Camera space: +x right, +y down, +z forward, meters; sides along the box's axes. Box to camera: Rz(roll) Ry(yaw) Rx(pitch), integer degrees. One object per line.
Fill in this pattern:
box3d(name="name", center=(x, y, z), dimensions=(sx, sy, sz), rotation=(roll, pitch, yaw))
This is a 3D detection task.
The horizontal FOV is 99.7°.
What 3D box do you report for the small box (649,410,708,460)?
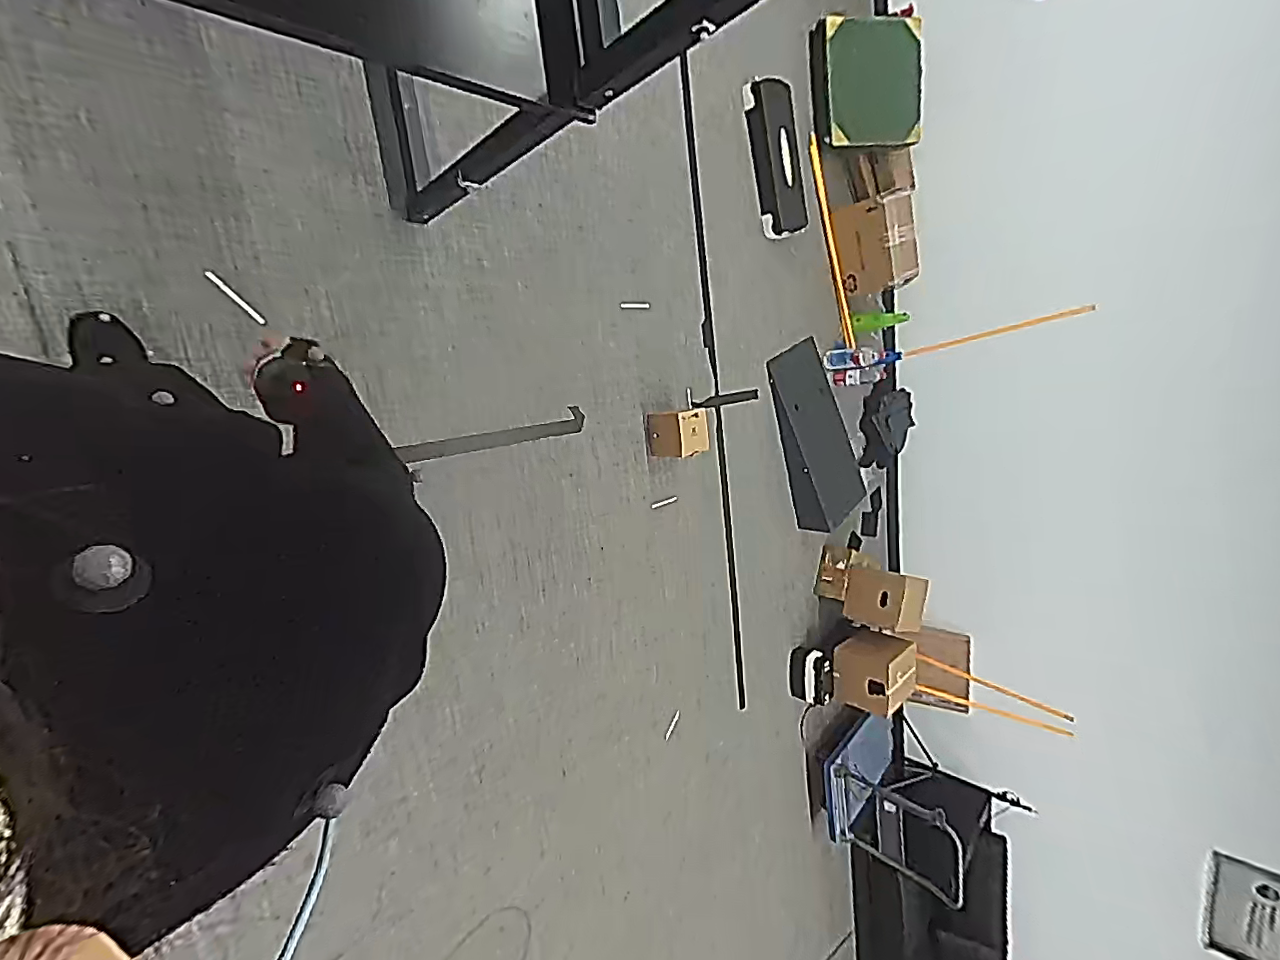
box3d(name="small box", center=(0.152, -0.186, 2.173), dimensions=(0.168, 0.176, 0.179), rotation=(-17, 107, -42))
